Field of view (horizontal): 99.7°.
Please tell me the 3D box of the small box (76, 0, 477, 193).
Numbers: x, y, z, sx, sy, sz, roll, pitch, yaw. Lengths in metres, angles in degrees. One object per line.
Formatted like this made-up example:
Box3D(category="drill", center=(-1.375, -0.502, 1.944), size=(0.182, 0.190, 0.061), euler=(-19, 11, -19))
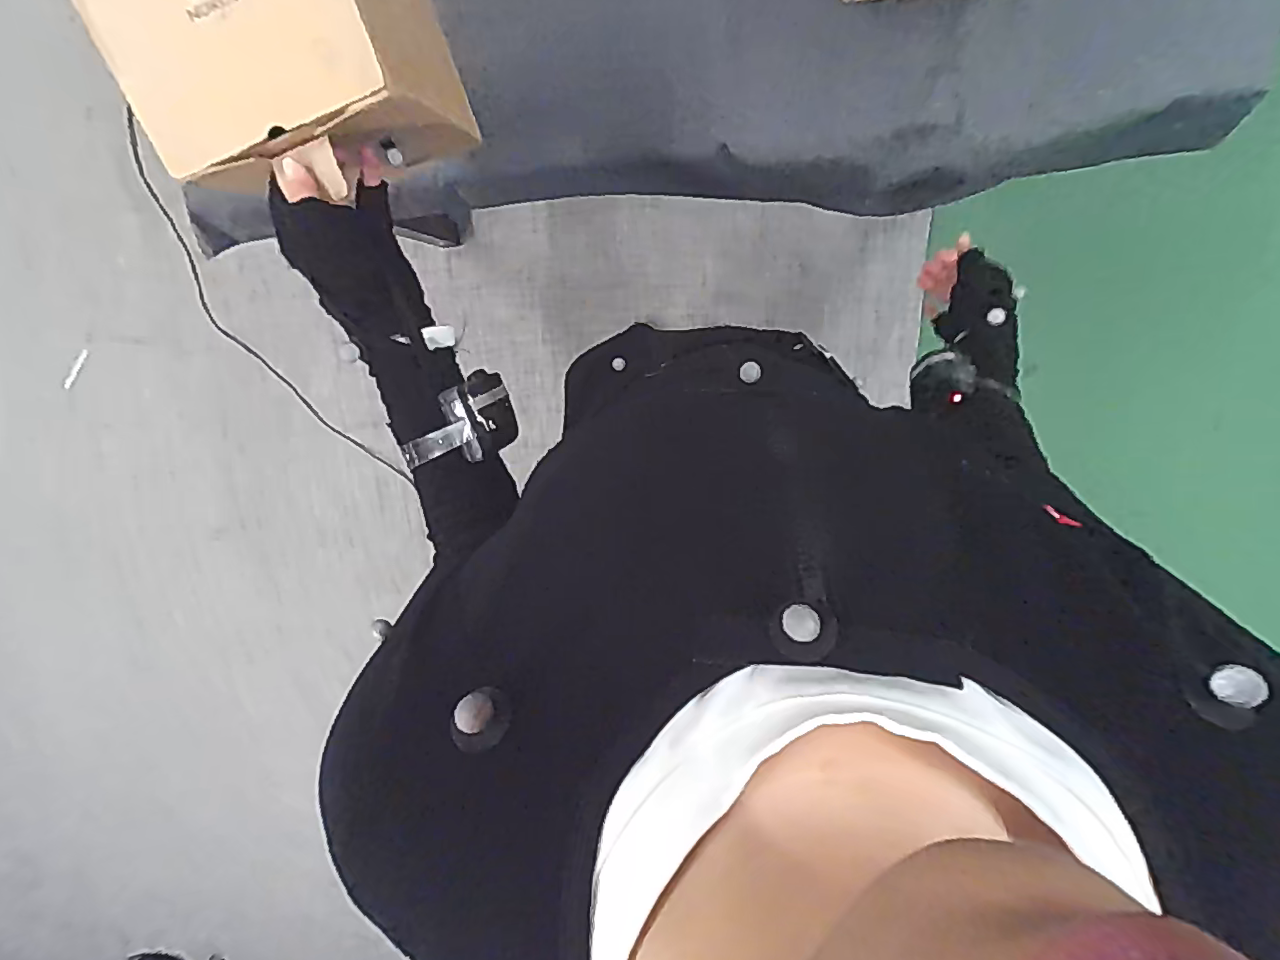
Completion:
Box3D(category="small box", center=(-0.242, -0.321, 0.381), size=(0.168, 0.176, 0.179), euler=(-16, 109, 11))
